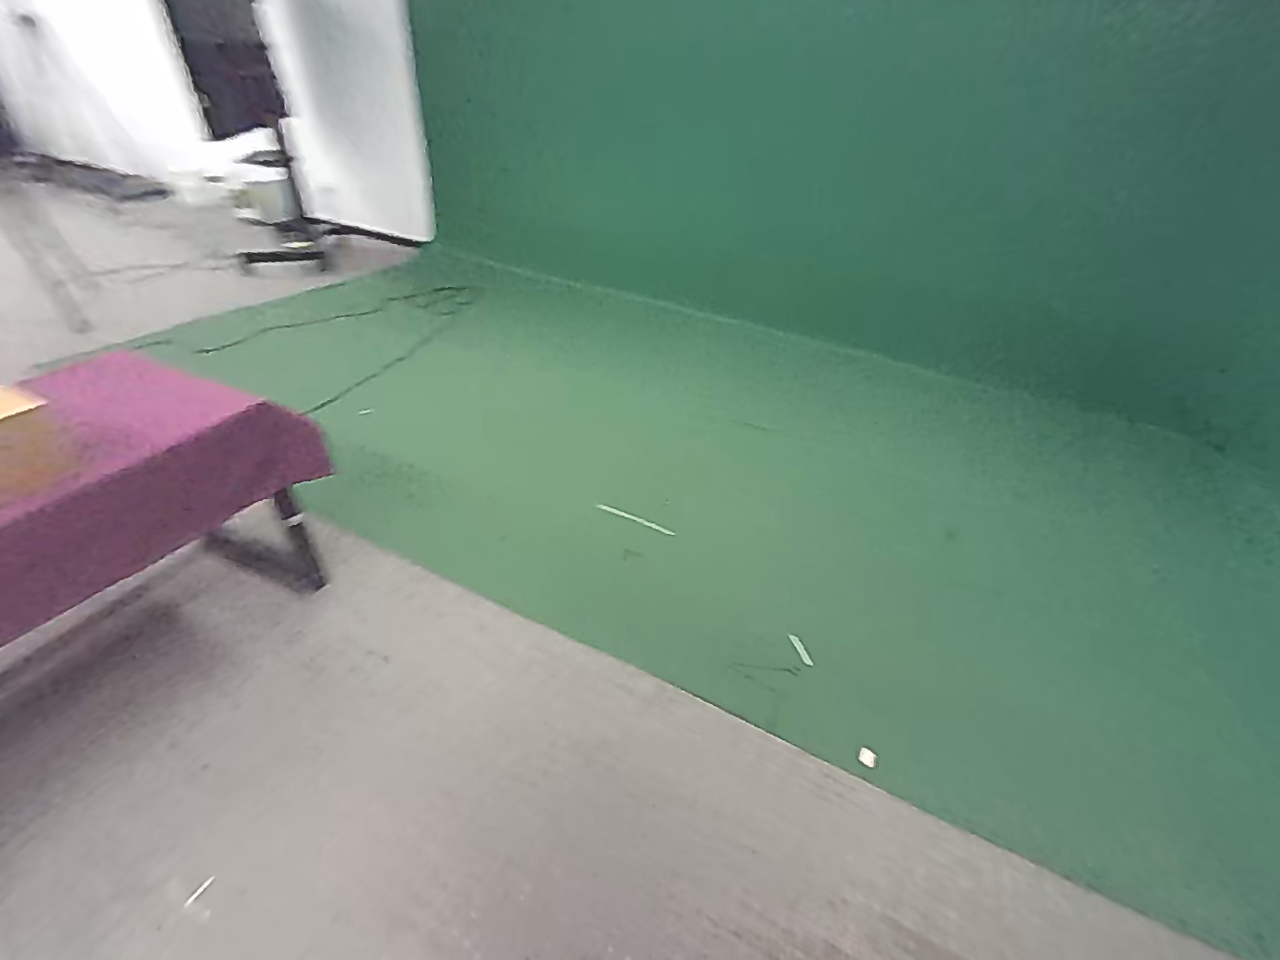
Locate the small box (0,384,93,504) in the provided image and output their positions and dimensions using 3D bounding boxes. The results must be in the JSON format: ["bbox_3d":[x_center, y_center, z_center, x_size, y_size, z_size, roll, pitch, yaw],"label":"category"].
[{"bbox_3d":[-1.321,-0.074,1.125,0.168,0.176,0.179,19,39,17],"label":"small box"}]
